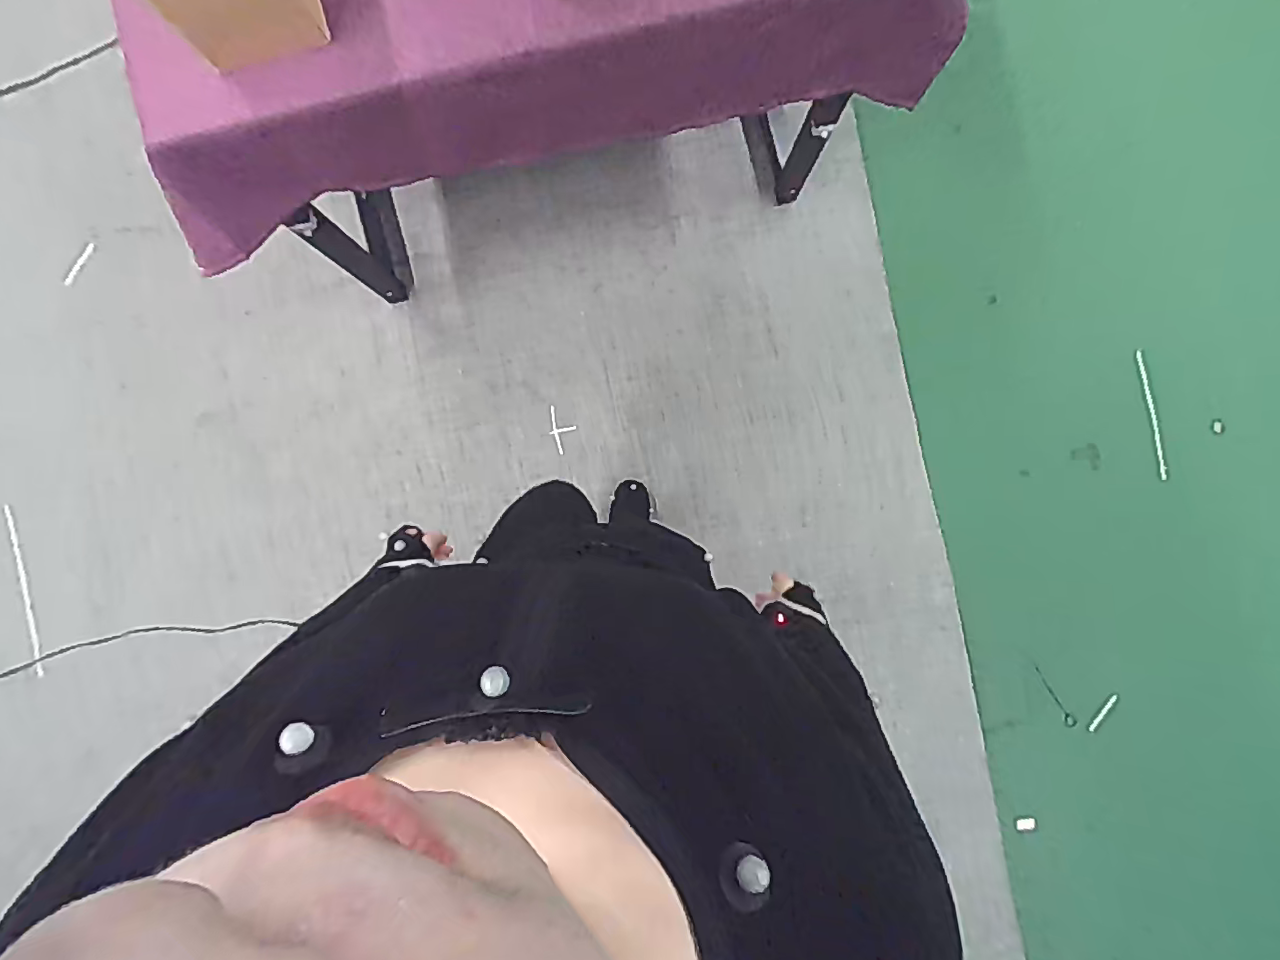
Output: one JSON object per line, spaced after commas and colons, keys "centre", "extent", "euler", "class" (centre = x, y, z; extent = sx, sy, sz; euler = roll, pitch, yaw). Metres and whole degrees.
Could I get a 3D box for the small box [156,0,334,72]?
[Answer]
{"centre": [-0.548, -0.689, 0.714], "extent": [0.179, 0.176, 0.168], "euler": [-16, 88, -1], "class": "small box"}
